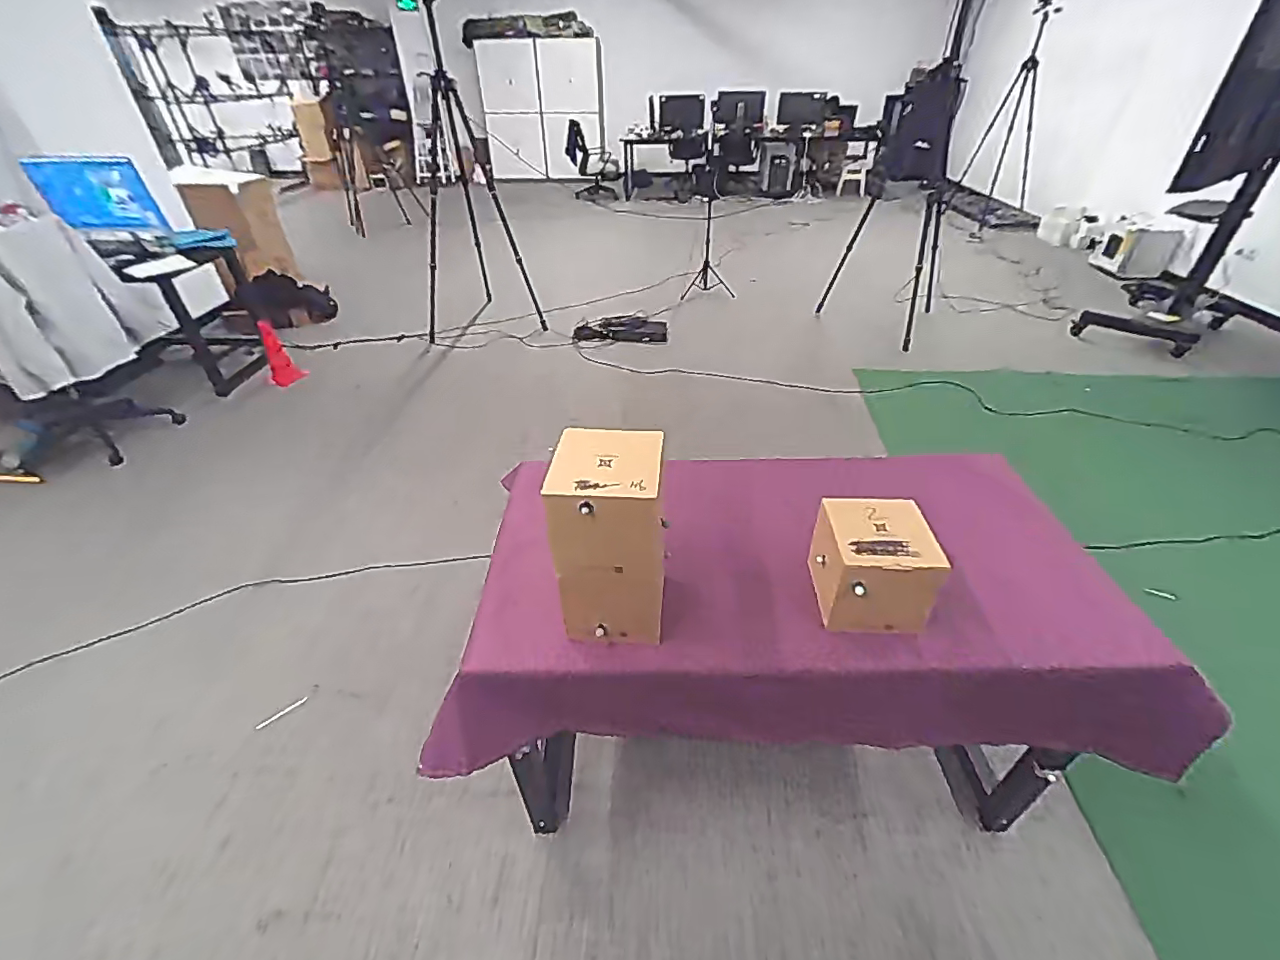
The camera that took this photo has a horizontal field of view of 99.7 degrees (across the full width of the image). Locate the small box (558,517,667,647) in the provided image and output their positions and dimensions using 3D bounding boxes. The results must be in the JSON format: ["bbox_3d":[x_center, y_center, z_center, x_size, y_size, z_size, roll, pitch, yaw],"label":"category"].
[{"bbox_3d":[-0.041,0.170,0.964,0.168,0.176,0.179,2,38,6],"label":"small box"}]

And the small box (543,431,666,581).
[{"bbox_3d":[-0.046,0.038,0.864,0.168,0.176,0.179,1,36,6],"label":"small box"}]
